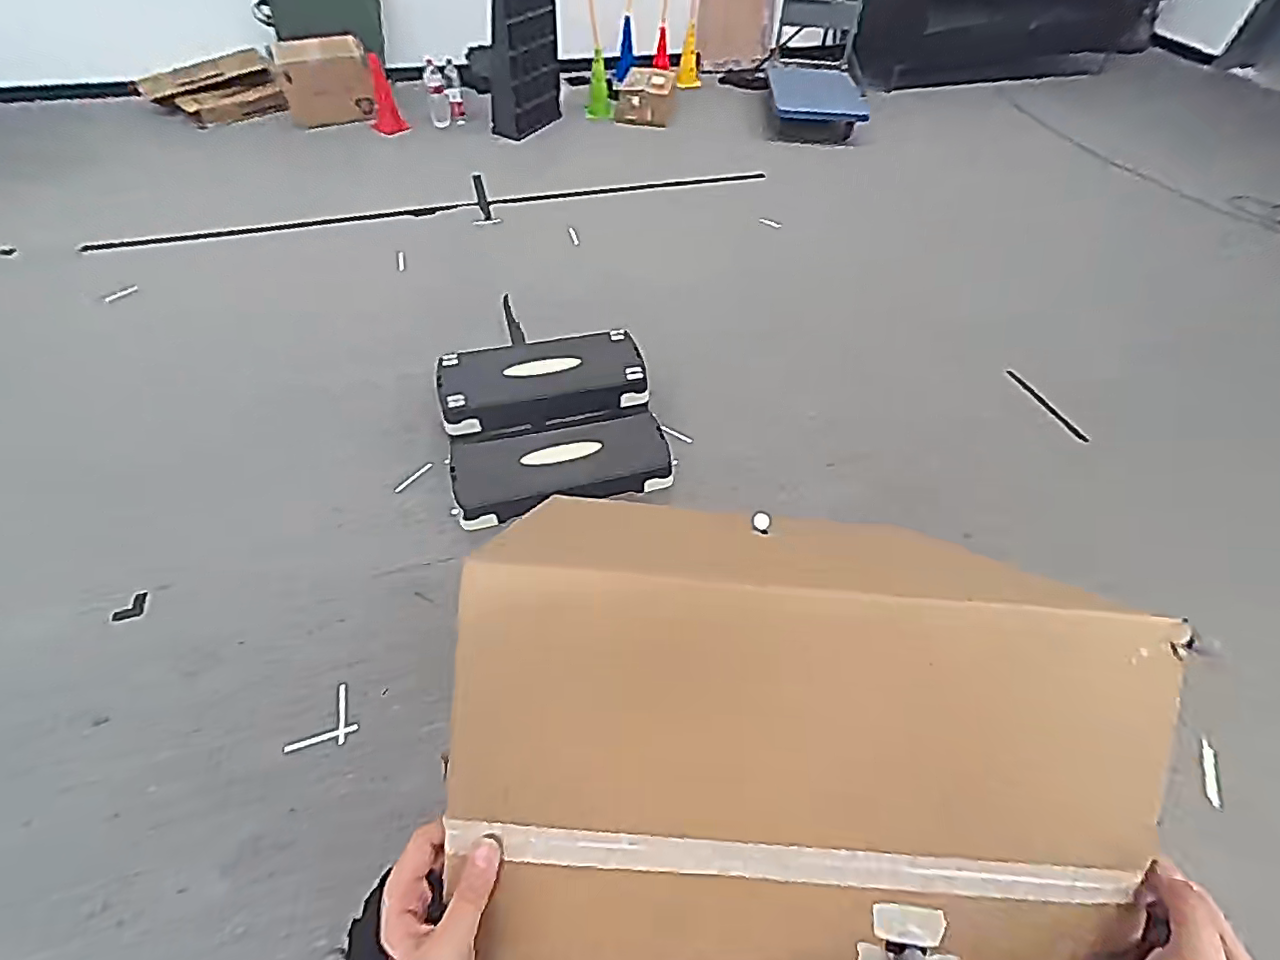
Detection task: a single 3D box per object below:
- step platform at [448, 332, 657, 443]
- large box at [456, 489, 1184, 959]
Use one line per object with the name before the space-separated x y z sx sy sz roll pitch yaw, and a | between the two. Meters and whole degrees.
step platform | -0.285 -0.323 1.820 0.684 0.204 0.286 -7 53 -9
large box | 0.092 0.178 0.454 0.408 0.320 0.320 4 96 -2
